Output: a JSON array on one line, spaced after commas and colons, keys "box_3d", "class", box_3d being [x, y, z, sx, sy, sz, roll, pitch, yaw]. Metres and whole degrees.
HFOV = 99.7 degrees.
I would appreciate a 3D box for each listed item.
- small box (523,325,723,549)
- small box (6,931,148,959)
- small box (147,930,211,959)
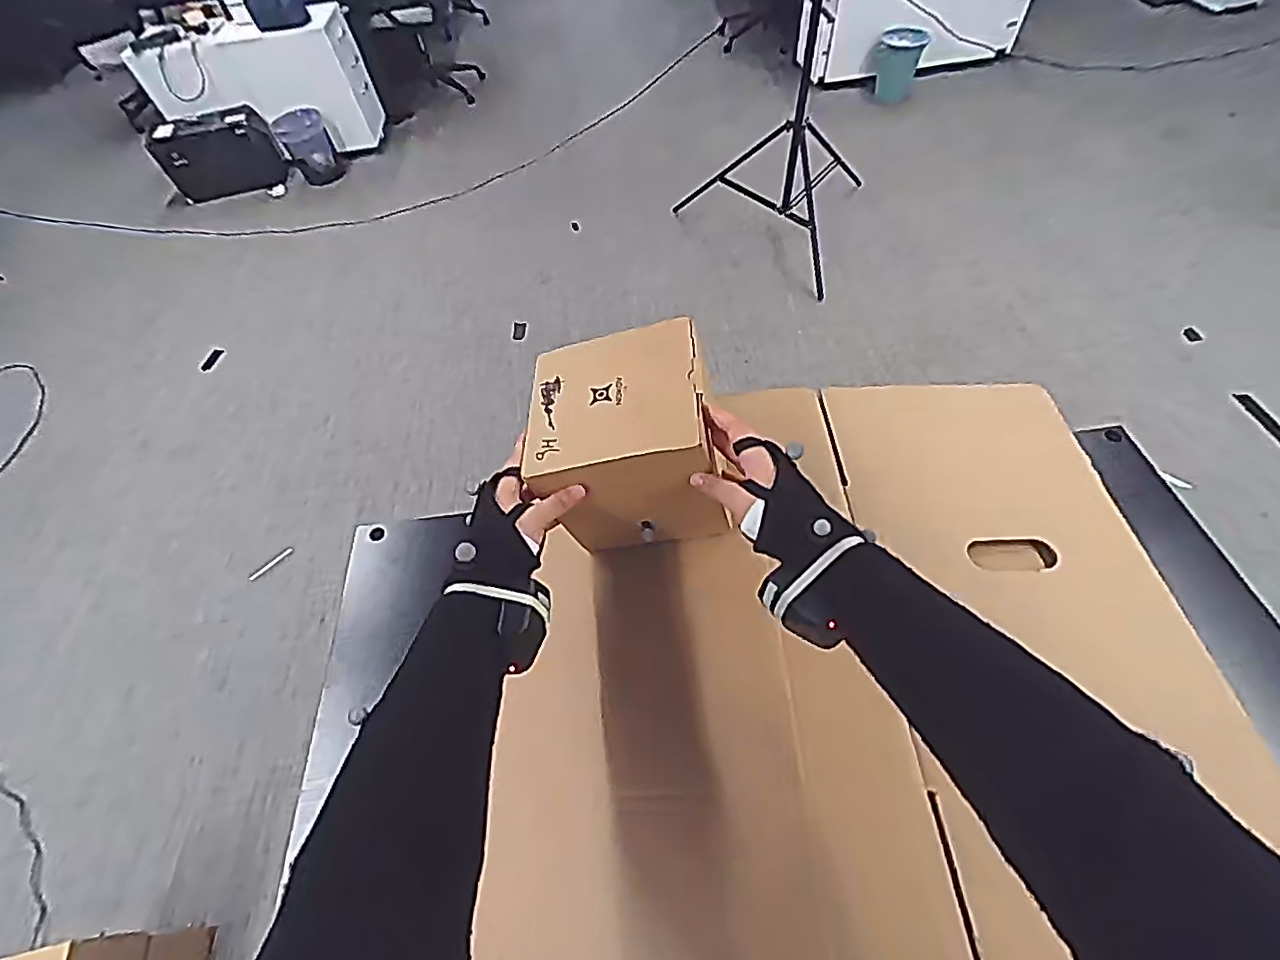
[{"box_3d": [-0.006, -0.038, 0.599, 0.179, 0.176, 0.168, -9, 54, 13], "class": "small box"}, {"box_3d": [-1.007, 0.912, 0.927, 0.168, 0.176, 0.179, -13, 55, -4], "class": "small box"}, {"box_3d": [-0.993, 1.009, 1.057, 0.168, 0.176, 0.179, -11, 56, -2], "class": "small box"}]
